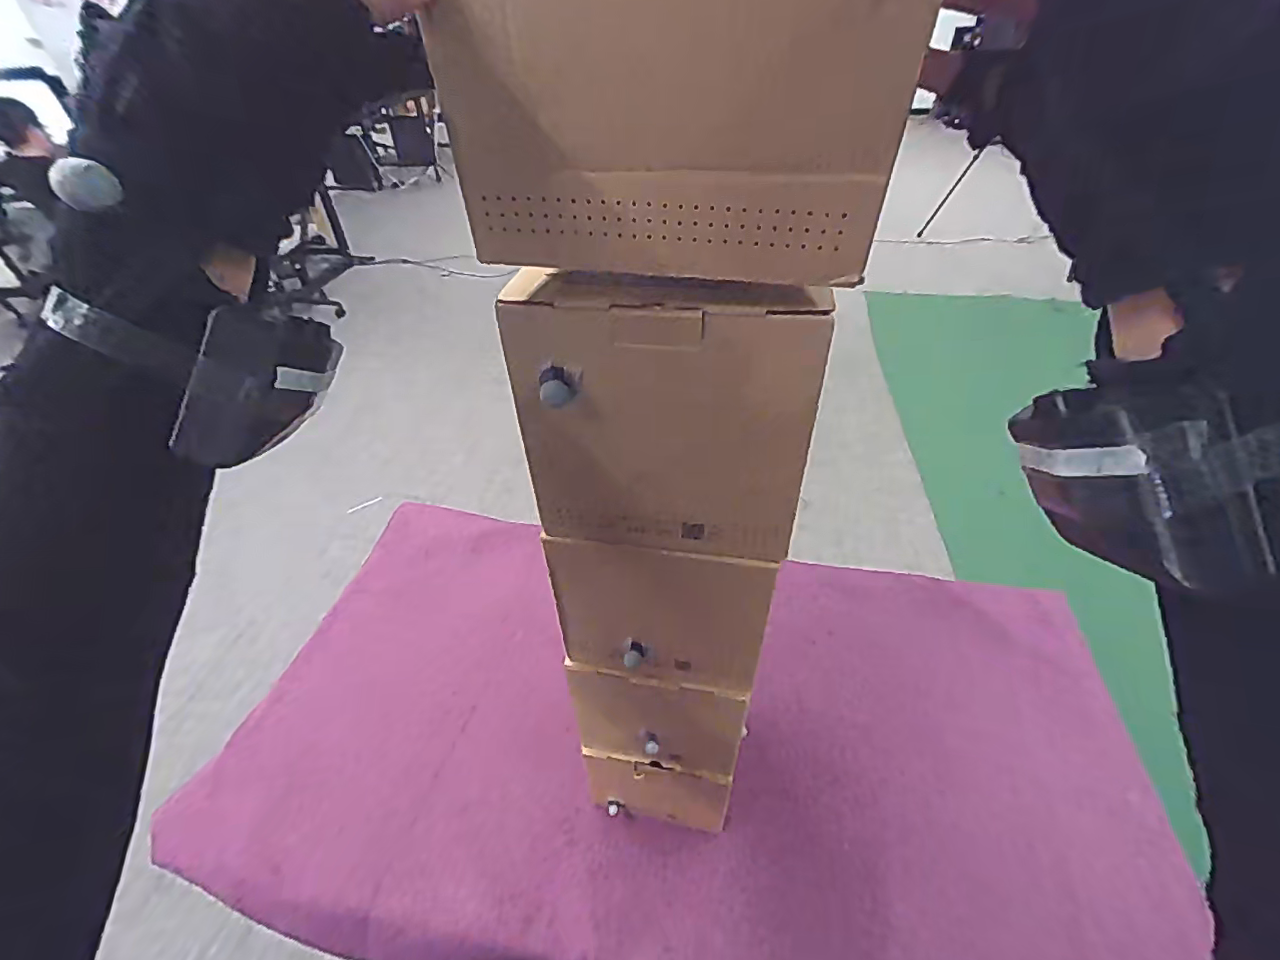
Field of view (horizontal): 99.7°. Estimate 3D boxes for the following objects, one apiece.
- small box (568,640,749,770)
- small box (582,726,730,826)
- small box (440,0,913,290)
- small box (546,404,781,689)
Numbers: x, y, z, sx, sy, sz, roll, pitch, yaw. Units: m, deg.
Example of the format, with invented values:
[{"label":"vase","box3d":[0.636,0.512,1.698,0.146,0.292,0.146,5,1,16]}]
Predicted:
[{"label":"small box","box3d":[0.032,0.180,0.588,0.168,0.176,0.179,7,42,10]},{"label":"small box","box3d":[0.036,0.309,0.690,0.168,0.176,0.179,7,41,10]},{"label":"small box","box3d":[0.019,-0.204,0.248,0.179,0.176,0.168,7,47,7]},{"label":"small box","box3d":[0.030,0.055,0.484,0.168,0.176,0.179,6,42,10]}]
